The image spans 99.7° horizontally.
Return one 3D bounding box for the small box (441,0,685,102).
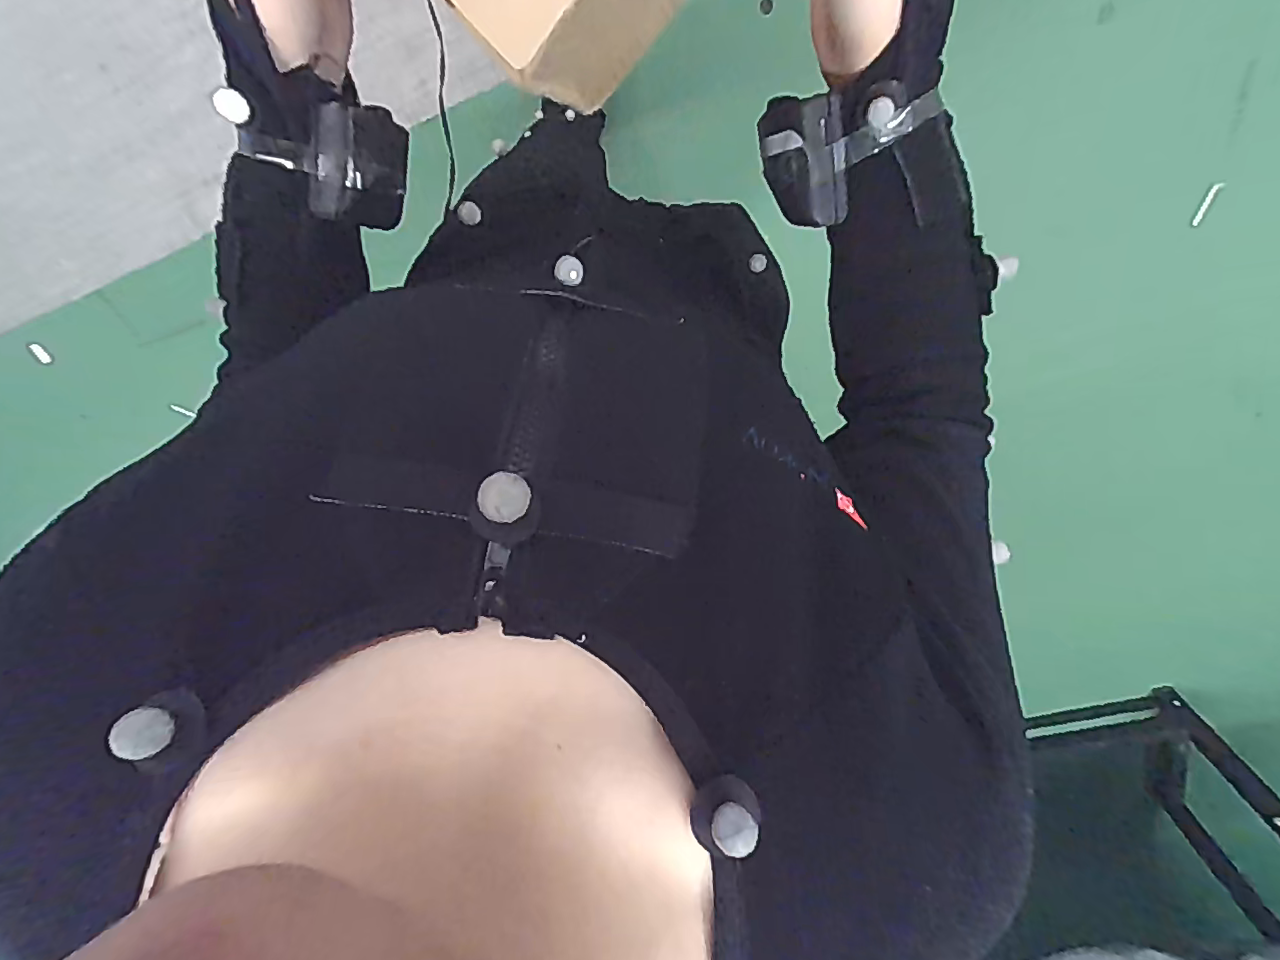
[{"bbox_3d":[-0.032,-0.290,0.214,0.179,0.176,0.168,-39,110,24],"label":"small box"}]
